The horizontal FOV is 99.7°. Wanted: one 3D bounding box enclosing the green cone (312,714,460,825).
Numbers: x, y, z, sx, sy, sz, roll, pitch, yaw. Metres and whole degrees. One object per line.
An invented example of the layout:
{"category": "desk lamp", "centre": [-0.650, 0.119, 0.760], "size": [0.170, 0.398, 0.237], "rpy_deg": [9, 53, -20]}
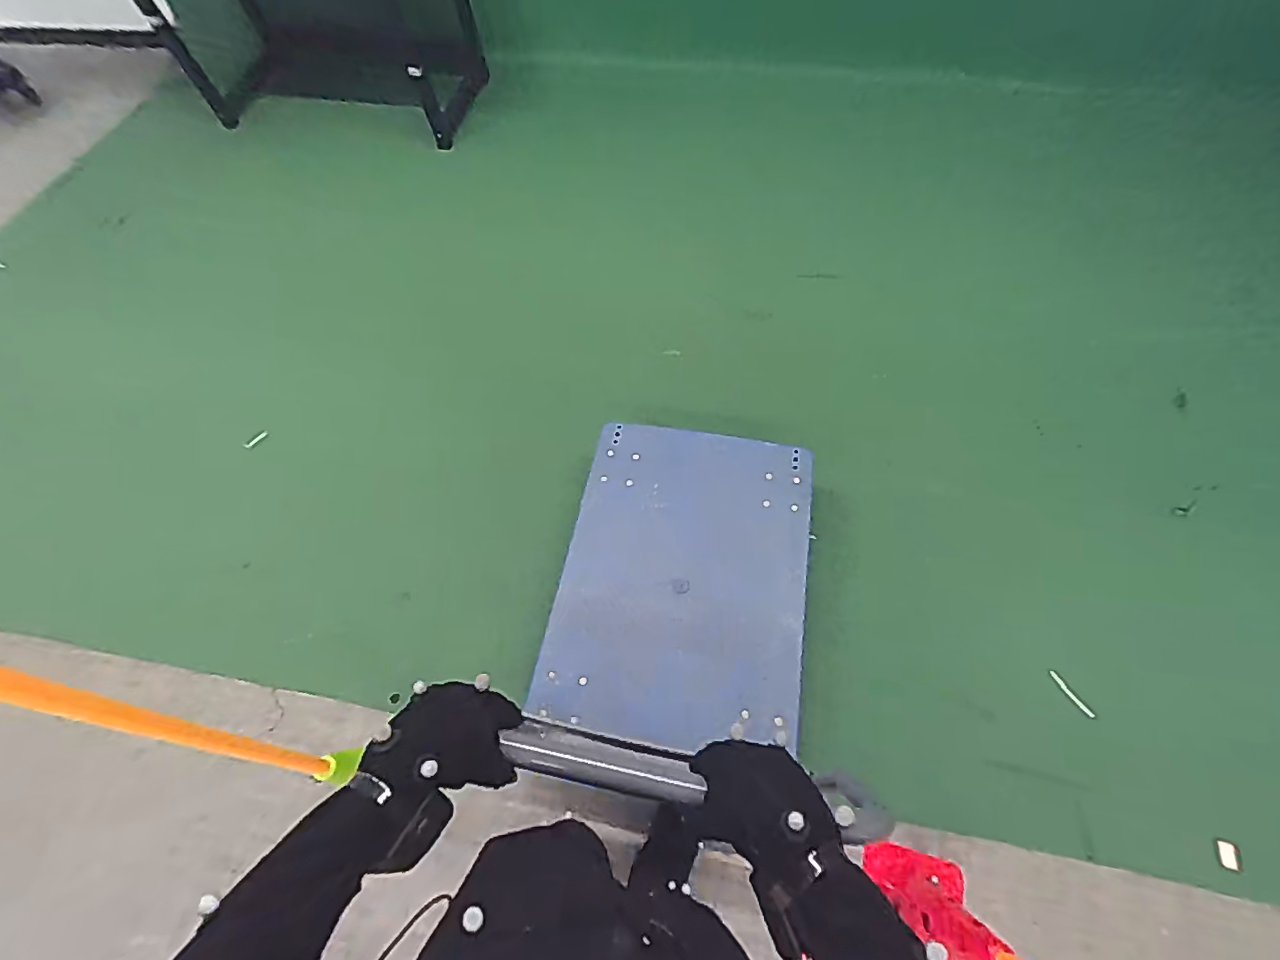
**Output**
{"category": "green cone", "centre": [-0.559, 0.599, 1.134], "size": [0.202, 0.368, 0.200], "rpy_deg": [12, 63, 11]}
